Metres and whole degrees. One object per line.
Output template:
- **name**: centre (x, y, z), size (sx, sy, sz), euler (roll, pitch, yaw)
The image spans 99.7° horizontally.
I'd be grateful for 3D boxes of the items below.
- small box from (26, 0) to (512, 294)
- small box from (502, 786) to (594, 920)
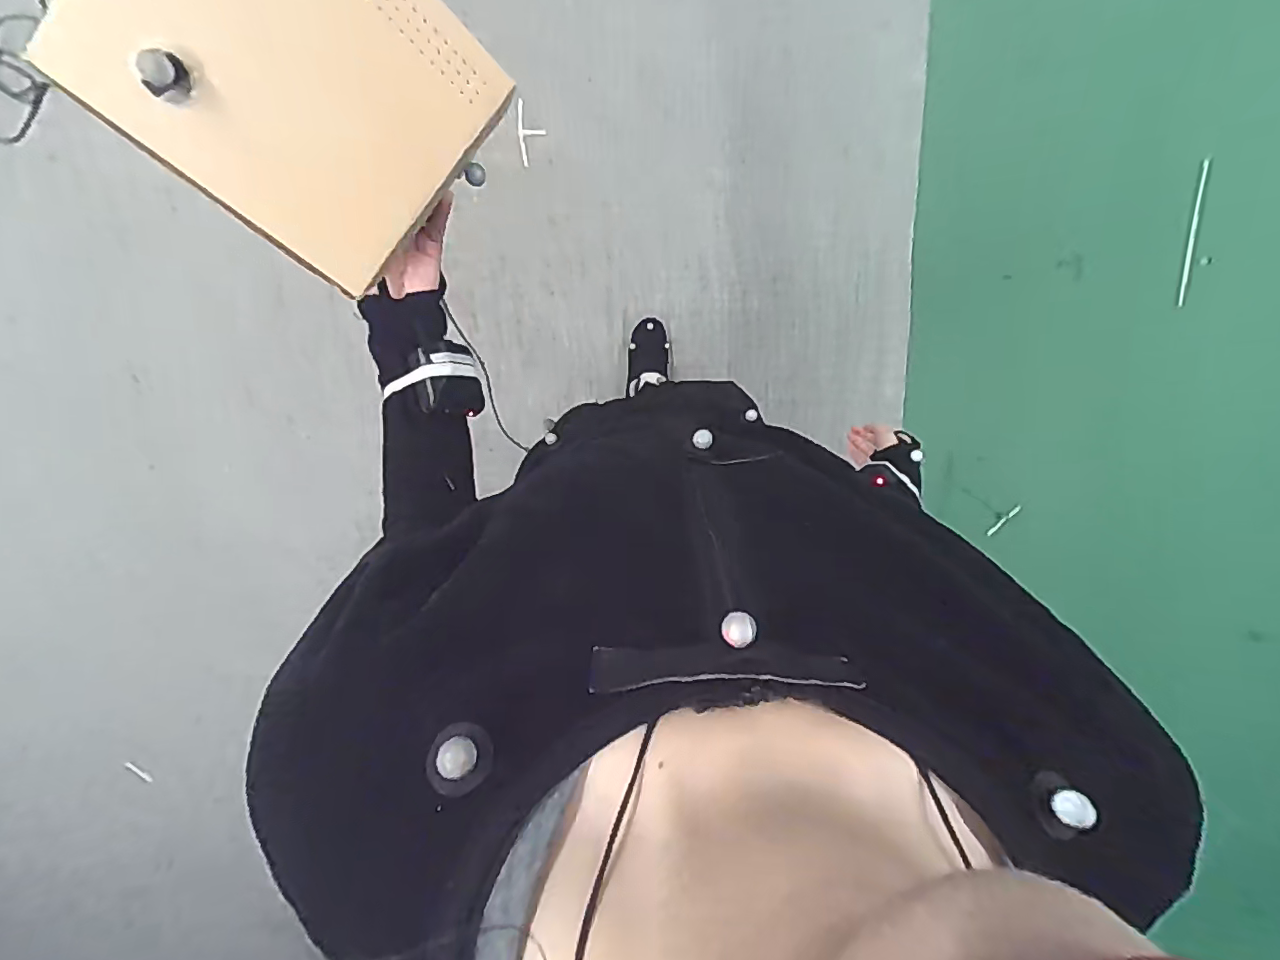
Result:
- **small box**: centre (-0.209, -0.261, 0.357), size (0.179, 0.168, 0.176), euler (35, 105, -30)
- **small box**: centre (-0.184, 0.766, 1.126), size (0.179, 0.176, 0.168), euler (1, 101, -4)
